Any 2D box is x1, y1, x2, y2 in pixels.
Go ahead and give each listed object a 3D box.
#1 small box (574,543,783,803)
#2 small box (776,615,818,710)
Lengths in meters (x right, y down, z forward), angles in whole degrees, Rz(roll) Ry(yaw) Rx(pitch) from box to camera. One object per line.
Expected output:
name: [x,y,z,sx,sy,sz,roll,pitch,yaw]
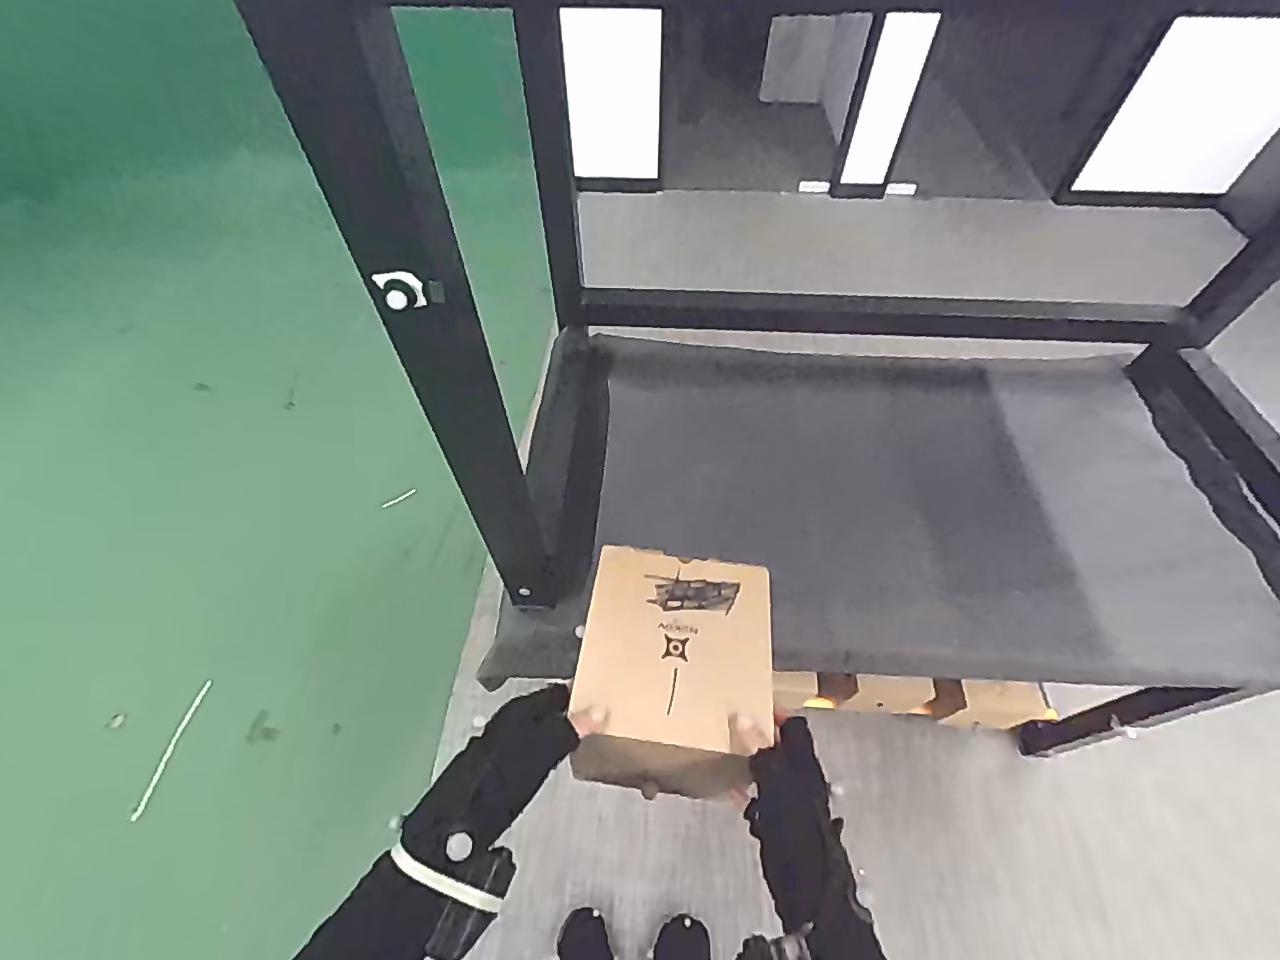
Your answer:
small box: [0.033,0.188,0.527,0.168,0.176,0.179,7,48,2]
small box: [0.307,0.429,1.269,0.168,0.176,0.179,4,55,2]
